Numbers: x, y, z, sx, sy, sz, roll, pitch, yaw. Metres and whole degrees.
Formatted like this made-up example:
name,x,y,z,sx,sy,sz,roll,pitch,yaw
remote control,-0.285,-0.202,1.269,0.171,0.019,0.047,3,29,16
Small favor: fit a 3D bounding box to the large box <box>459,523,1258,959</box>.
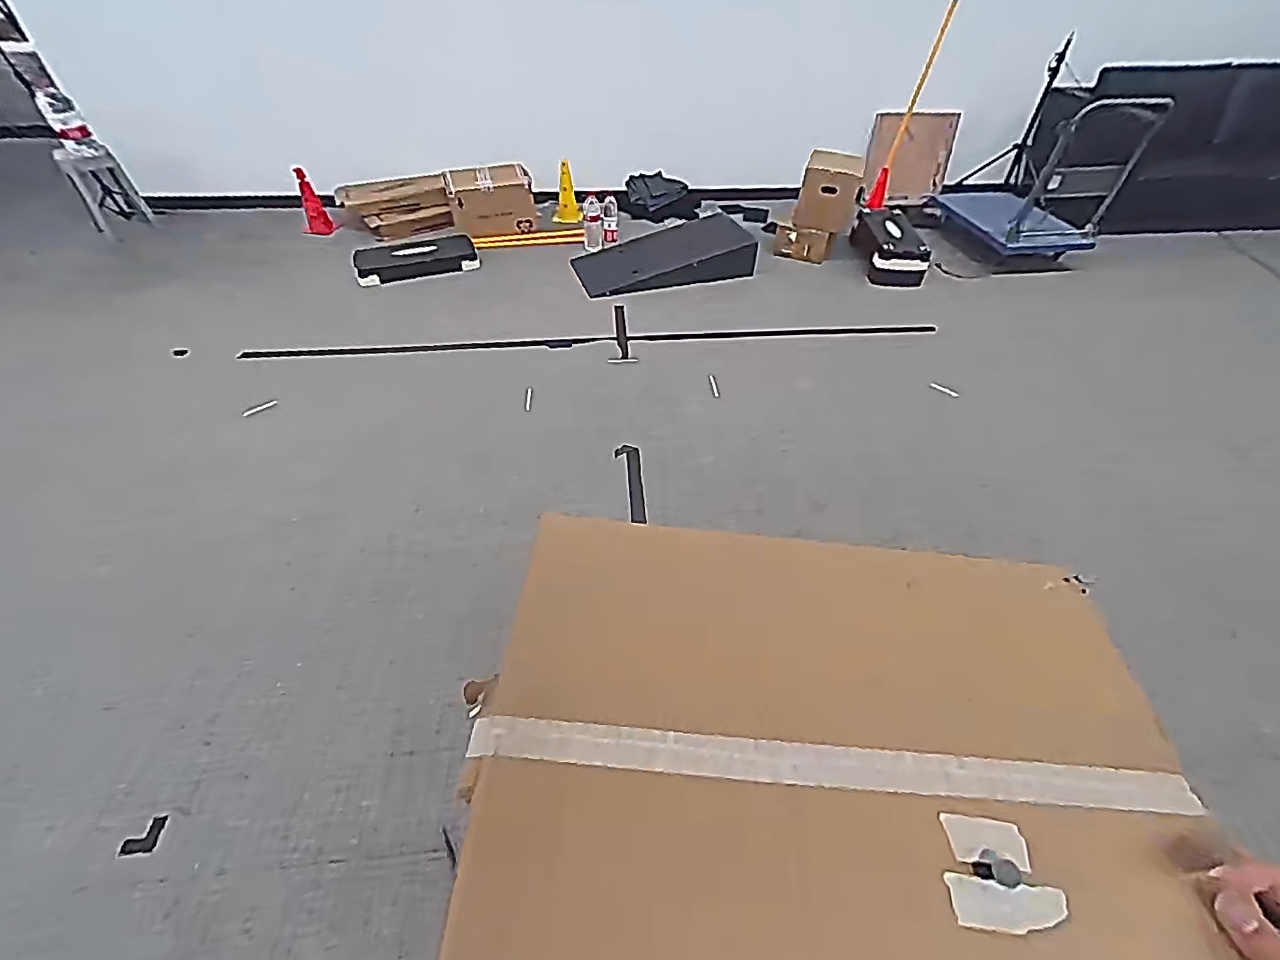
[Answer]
name,x,y,z,sx,sy,sz,roll,pitch,yaw
large box,0.102,0.263,0.430,0.408,0.320,0.320,7,49,-2
